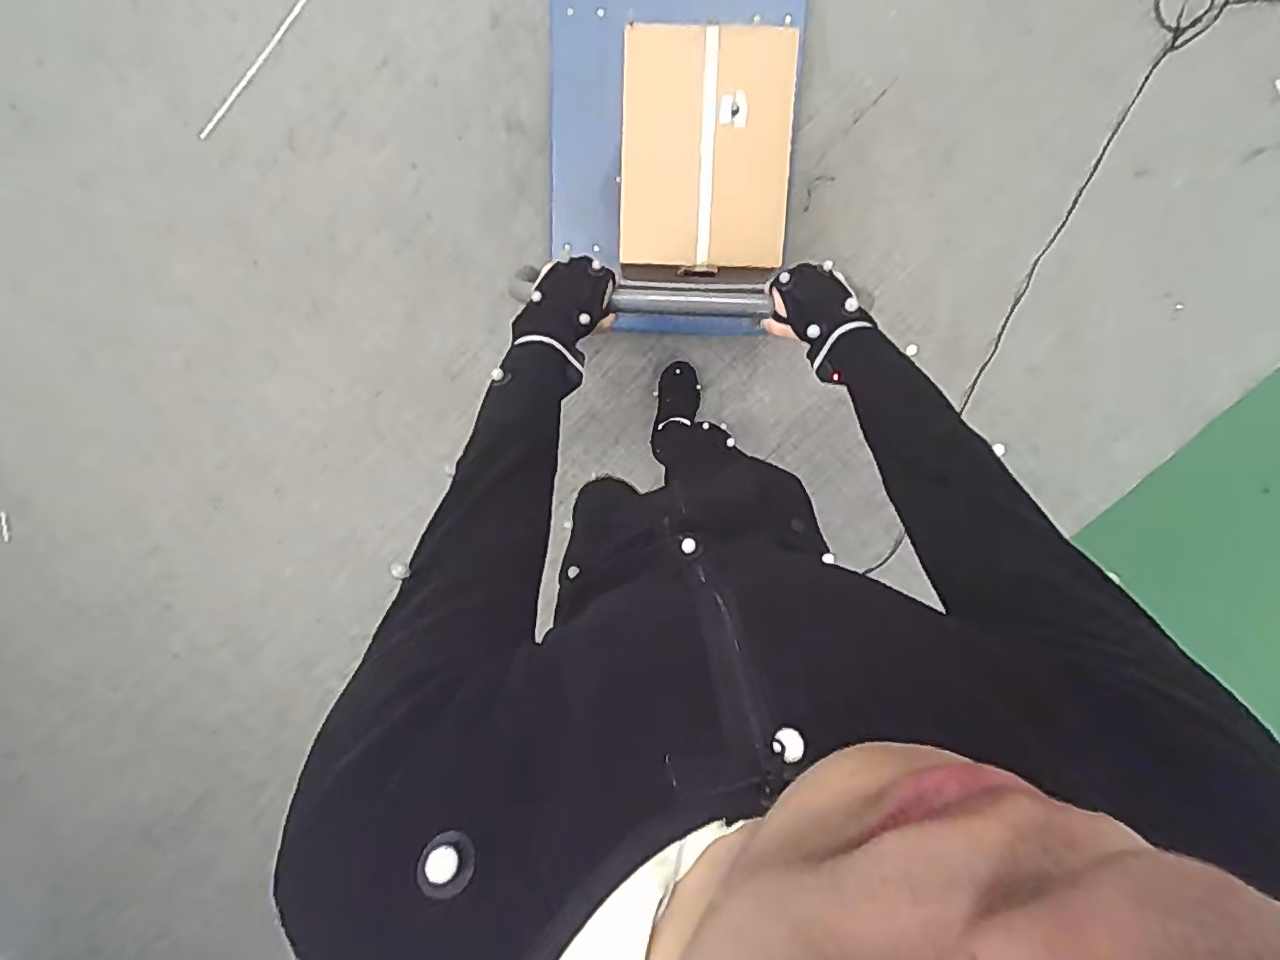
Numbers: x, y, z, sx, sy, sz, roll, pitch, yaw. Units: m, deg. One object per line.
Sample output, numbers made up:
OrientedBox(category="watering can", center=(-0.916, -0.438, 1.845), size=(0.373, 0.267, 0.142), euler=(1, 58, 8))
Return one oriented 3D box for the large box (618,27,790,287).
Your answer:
OrientedBox(category="large box", center=(0.118, -0.647, 1.161), size=(0.320, 0.320, 0.408), euler=(2, 101, -1))
